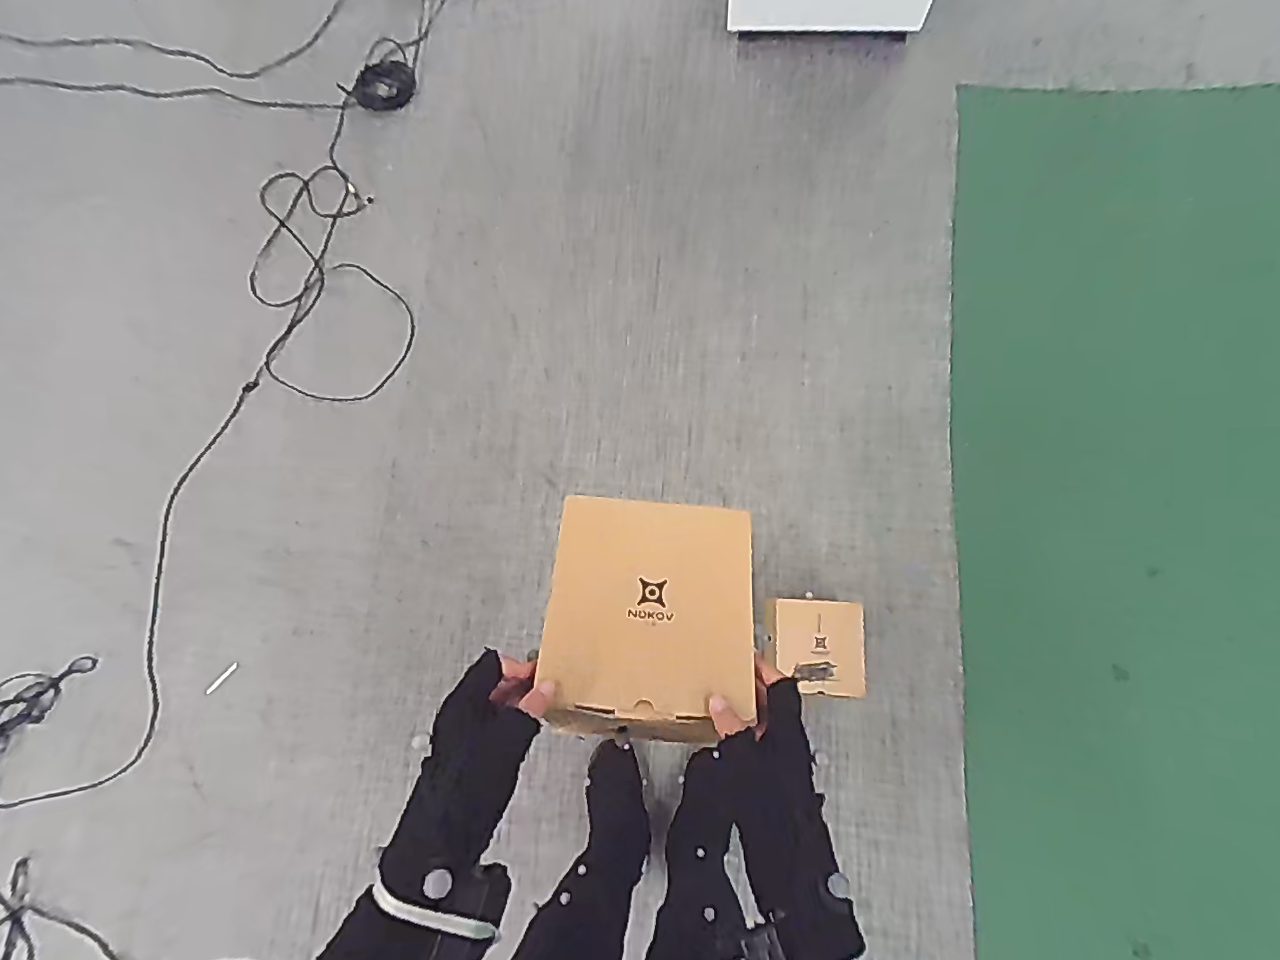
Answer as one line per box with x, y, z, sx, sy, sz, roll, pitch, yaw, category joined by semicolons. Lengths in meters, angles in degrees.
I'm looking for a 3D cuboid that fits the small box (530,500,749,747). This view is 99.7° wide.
0.002;0.140;0.507;0.168;0.176;0.179;5;59;0;small box

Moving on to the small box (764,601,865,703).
0.346;0.339;1.094;0.168;0.176;0.179;2;77;6;small box
